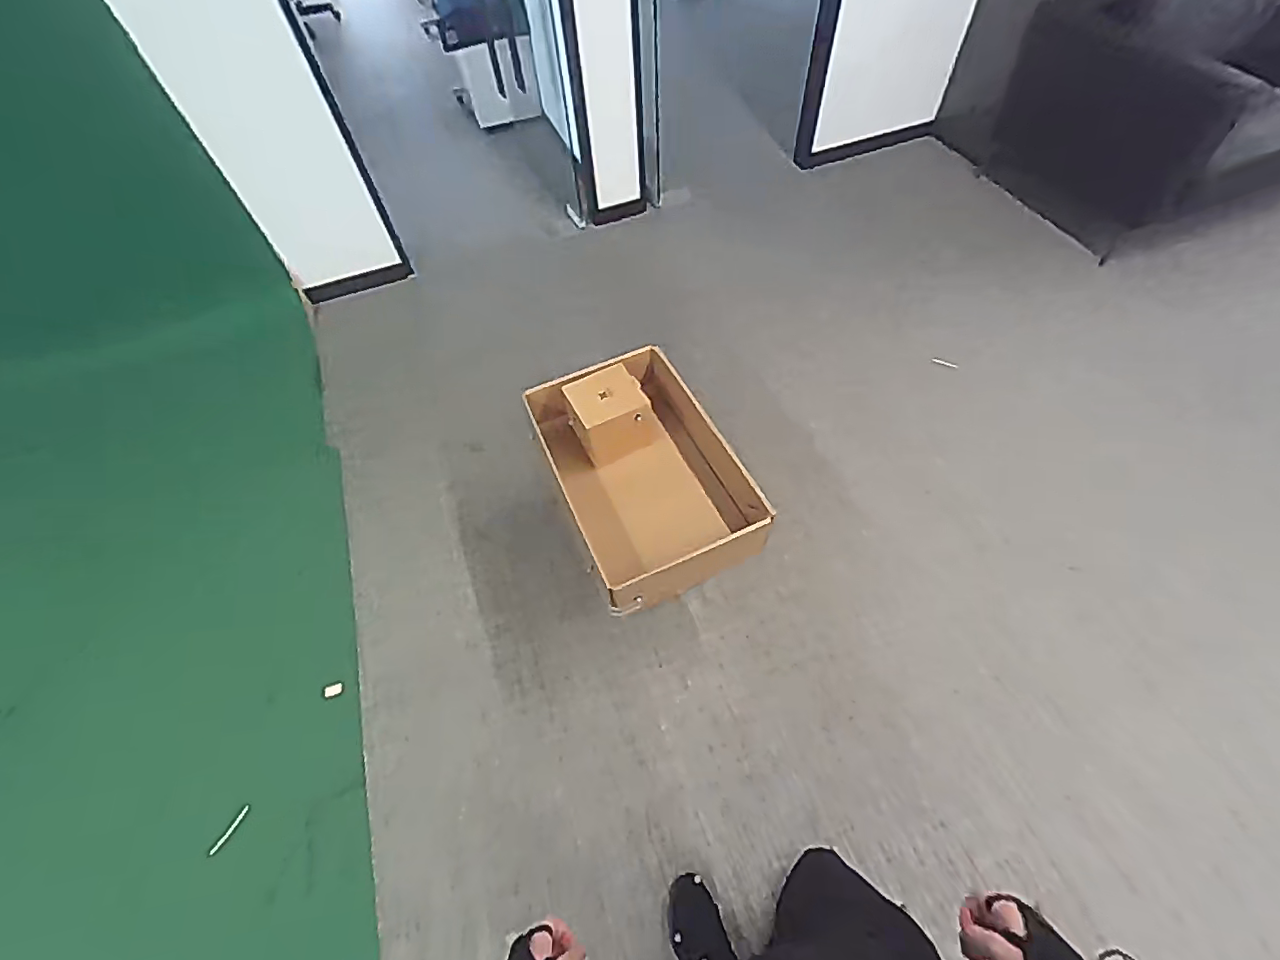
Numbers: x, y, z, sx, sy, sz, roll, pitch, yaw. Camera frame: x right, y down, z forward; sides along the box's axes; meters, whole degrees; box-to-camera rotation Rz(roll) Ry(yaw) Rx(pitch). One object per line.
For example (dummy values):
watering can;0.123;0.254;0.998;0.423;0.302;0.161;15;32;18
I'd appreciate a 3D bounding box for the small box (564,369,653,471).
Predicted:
small box;-0.077;-0.152;1.410;0.179;0.176;0.168;-25;57;-13
